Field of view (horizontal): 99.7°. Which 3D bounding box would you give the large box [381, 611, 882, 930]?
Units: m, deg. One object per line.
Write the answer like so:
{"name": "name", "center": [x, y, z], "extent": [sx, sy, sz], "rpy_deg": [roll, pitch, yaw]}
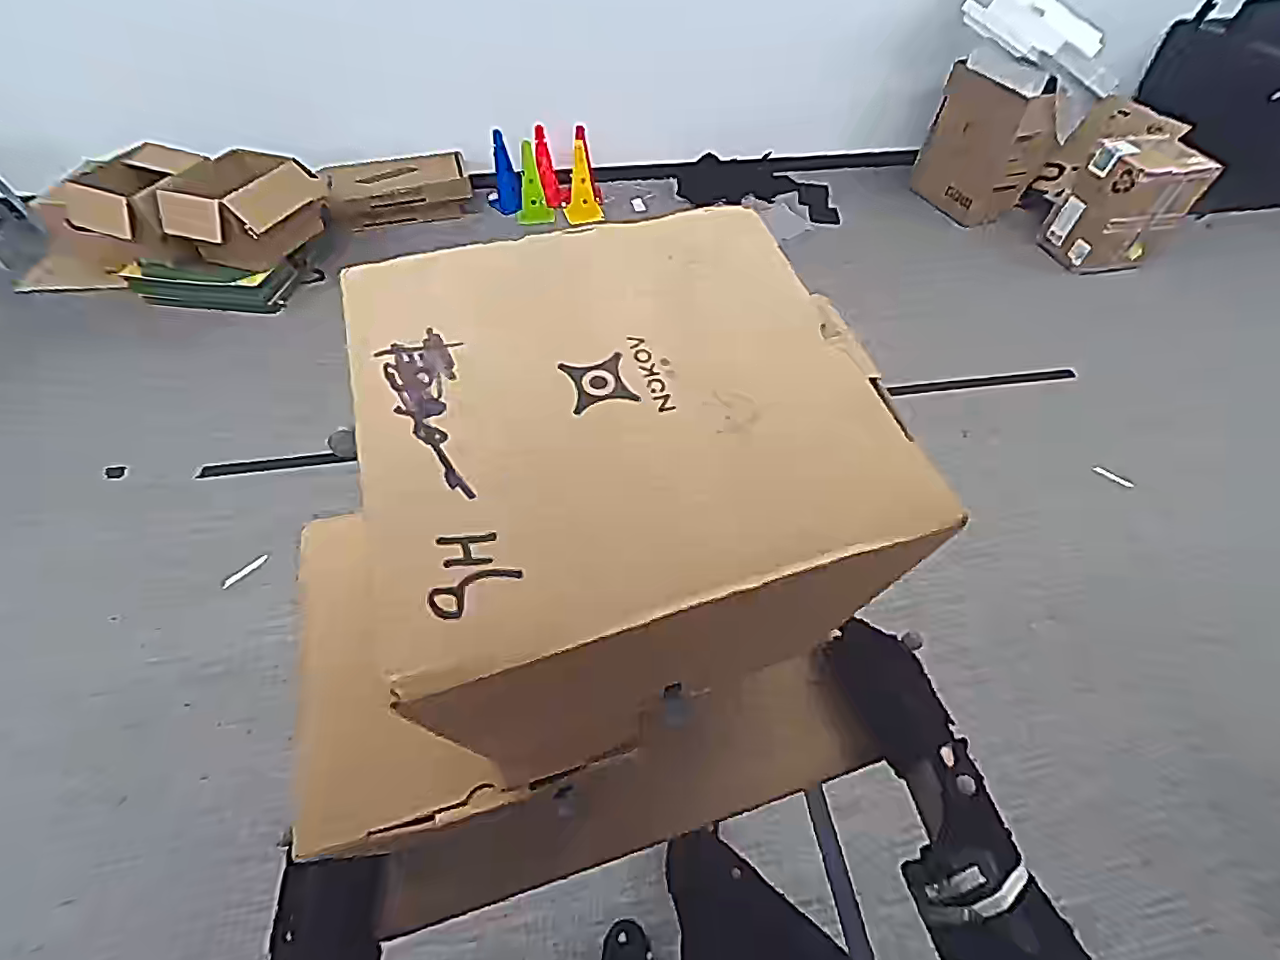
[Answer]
{"name": "large box", "center": [-0.042, 0.215, 0.601], "extent": [0.408, 0.320, 0.320], "rpy_deg": [-12, 60, -14]}

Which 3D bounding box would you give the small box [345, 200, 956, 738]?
{"name": "small box", "center": [-0.012, 0.003, 0.254], "extent": [0.179, 0.176, 0.168], "rpy_deg": [-14, 60, -13]}

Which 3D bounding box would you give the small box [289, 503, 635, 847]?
{"name": "small box", "center": [-0.110, 0.120, 0.365], "extent": [0.168, 0.176, 0.179], "rpy_deg": [-11, 58, -15]}
